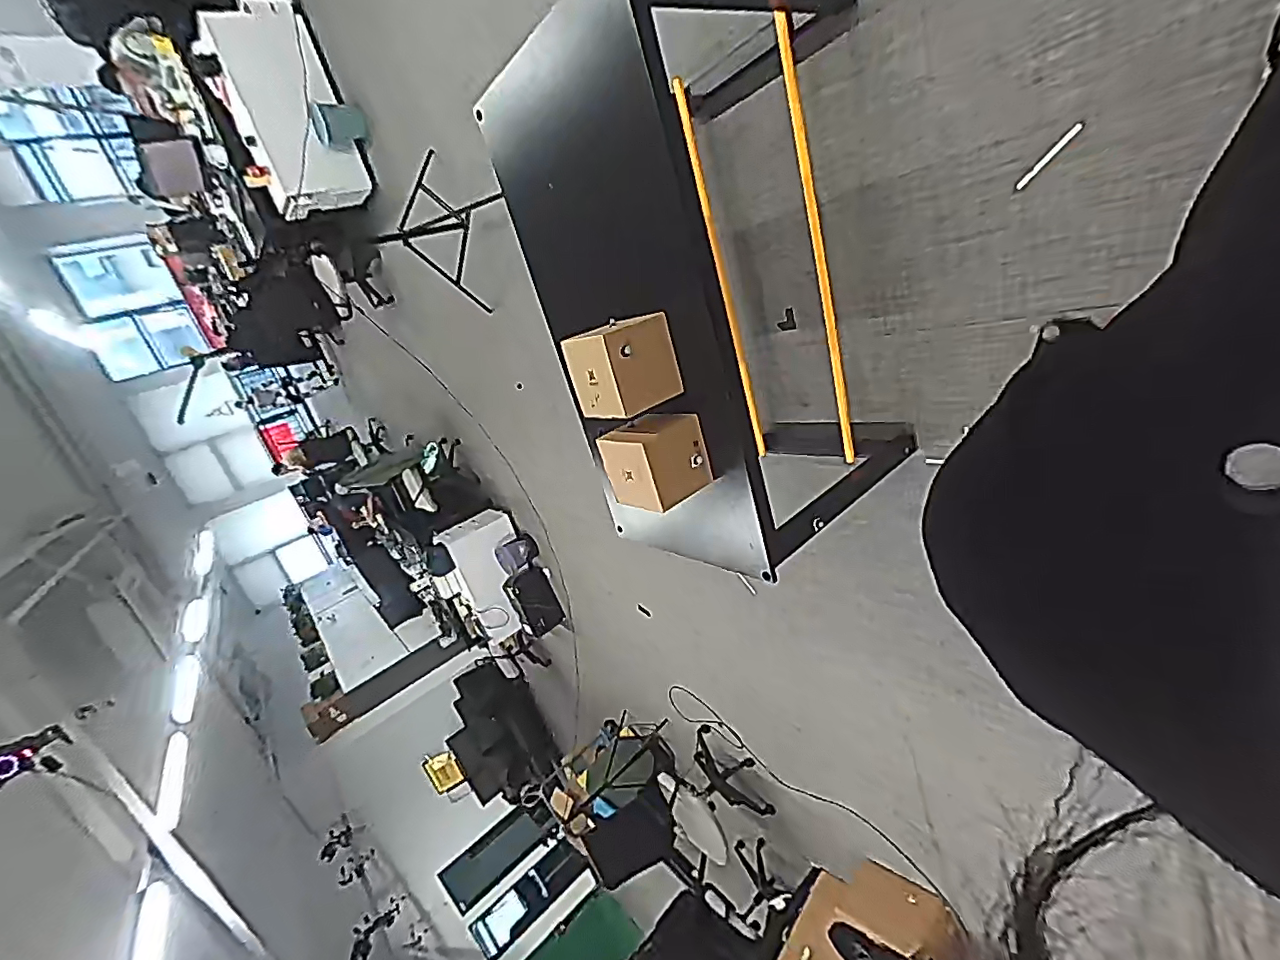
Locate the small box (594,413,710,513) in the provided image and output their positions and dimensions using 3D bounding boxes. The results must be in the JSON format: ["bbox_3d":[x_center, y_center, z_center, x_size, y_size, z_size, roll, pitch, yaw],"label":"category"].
[{"bbox_3d":[0.029,-0.046,1.223,0.179,0.176,0.168,8,123,52],"label":"small box"}]
